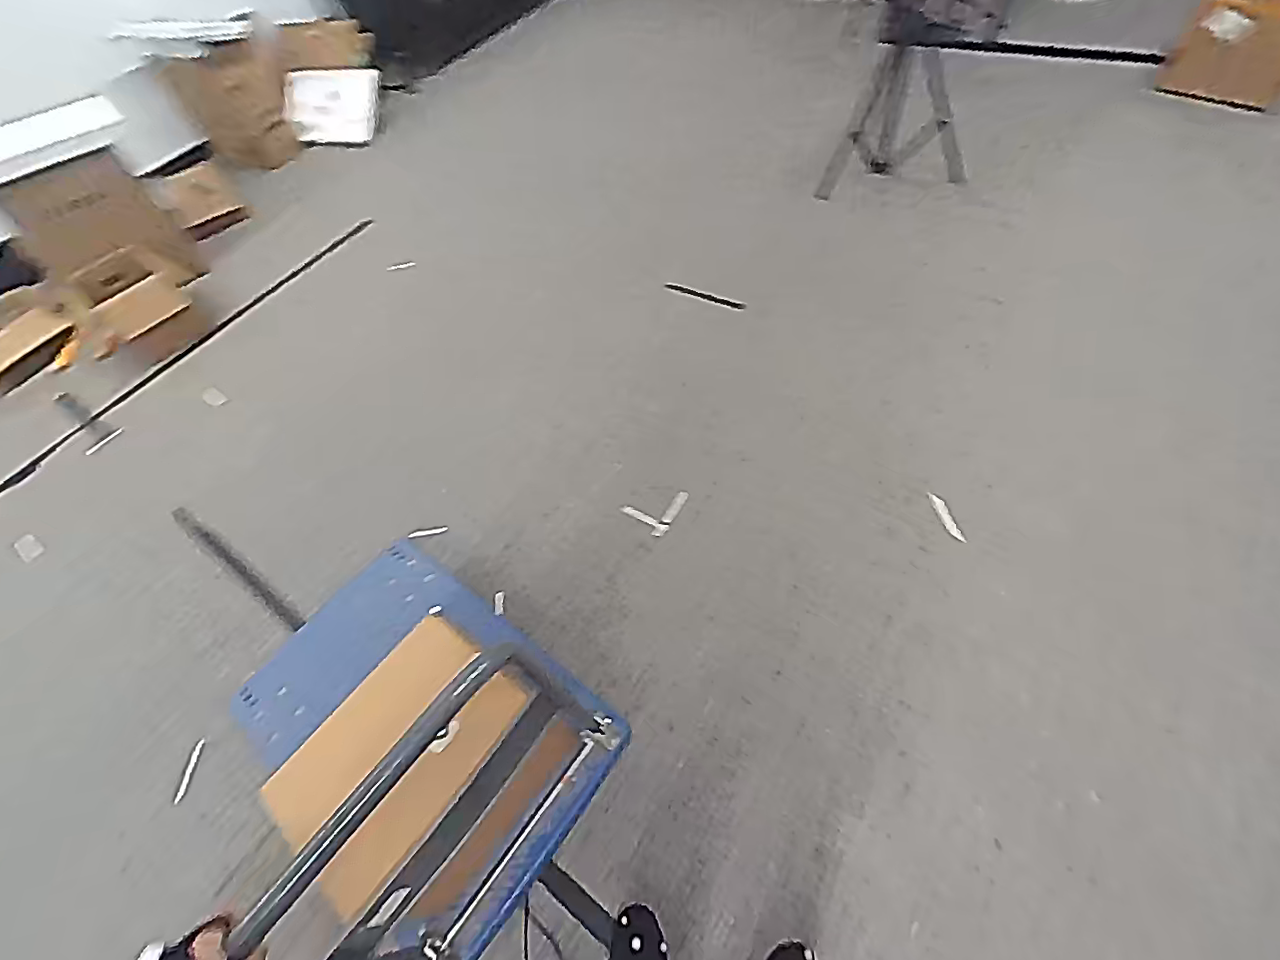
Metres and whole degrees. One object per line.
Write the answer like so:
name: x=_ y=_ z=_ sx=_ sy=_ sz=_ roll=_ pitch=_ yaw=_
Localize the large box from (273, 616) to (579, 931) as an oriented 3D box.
large box: x=-0.389 y=0.563 z=1.073 sx=0.320 sy=0.320 sz=0.408 roll=31 pitch=65 yaw=25
